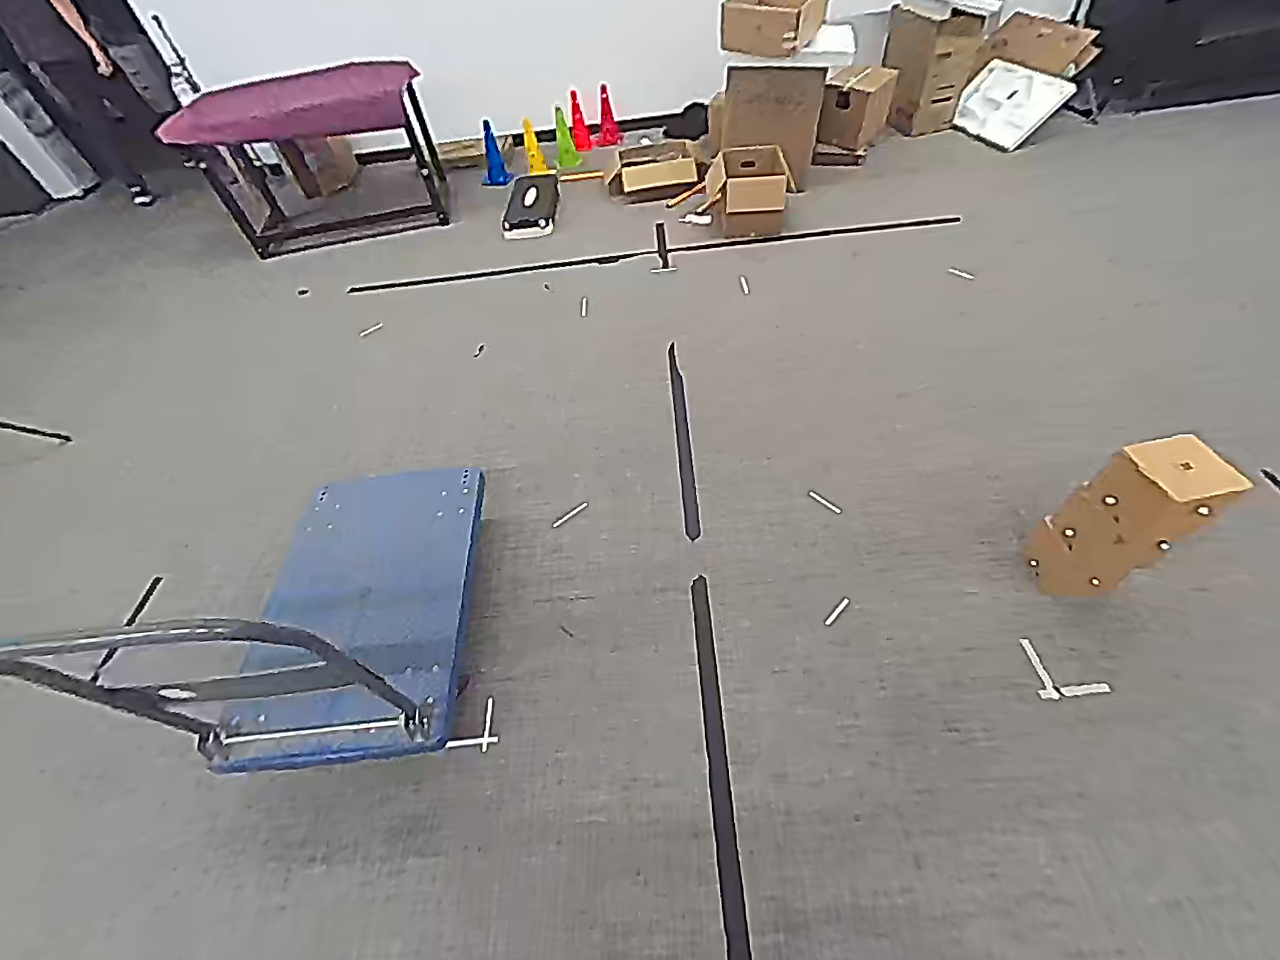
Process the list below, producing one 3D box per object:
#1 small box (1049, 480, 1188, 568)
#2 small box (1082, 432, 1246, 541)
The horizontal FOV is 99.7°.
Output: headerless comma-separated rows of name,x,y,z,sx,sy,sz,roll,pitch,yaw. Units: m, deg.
small box,1.207,0.112,1.382,0.179,0.176,0.168,-3,49,5
small box,1.193,0.018,1.249,0.179,0.176,0.168,-12,50,-2
